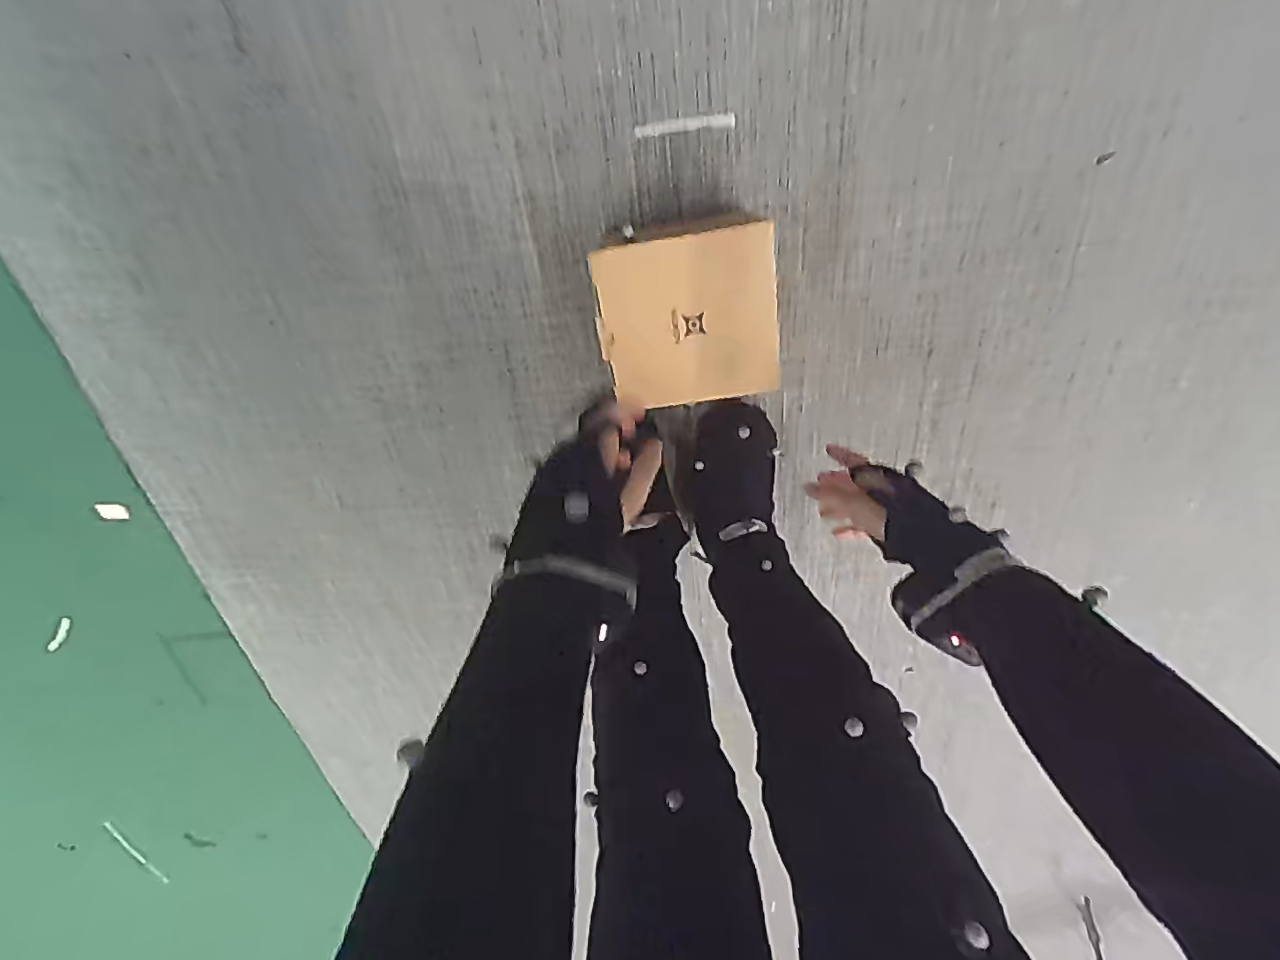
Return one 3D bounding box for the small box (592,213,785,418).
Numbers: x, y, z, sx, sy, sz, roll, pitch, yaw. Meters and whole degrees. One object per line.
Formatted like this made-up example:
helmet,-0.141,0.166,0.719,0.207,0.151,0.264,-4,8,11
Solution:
small box,0.055,-0.186,0.594,0.179,0.176,0.168,-7,120,7
